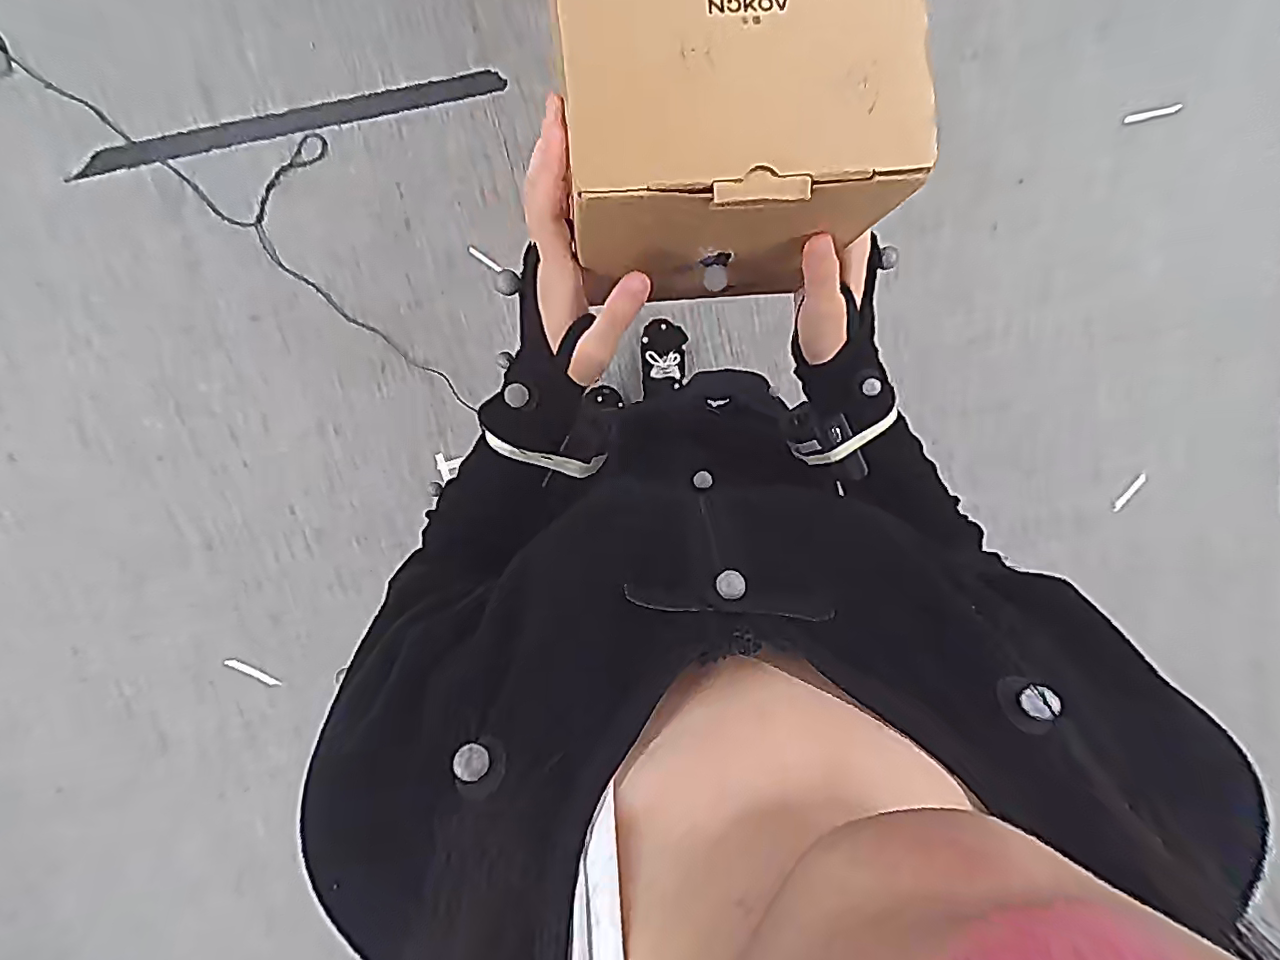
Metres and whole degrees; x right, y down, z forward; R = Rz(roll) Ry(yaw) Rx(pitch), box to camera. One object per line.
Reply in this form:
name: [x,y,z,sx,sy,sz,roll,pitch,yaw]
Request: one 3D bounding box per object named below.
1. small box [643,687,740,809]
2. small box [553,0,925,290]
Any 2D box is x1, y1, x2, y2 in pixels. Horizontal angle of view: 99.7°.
small box: [0.112,0.603,1.239,0.179,0.176,0.168,-14,101,0]
small box: [0.038,-0.221,0.319,0.168,0.176,0.179,-6,93,-5]
